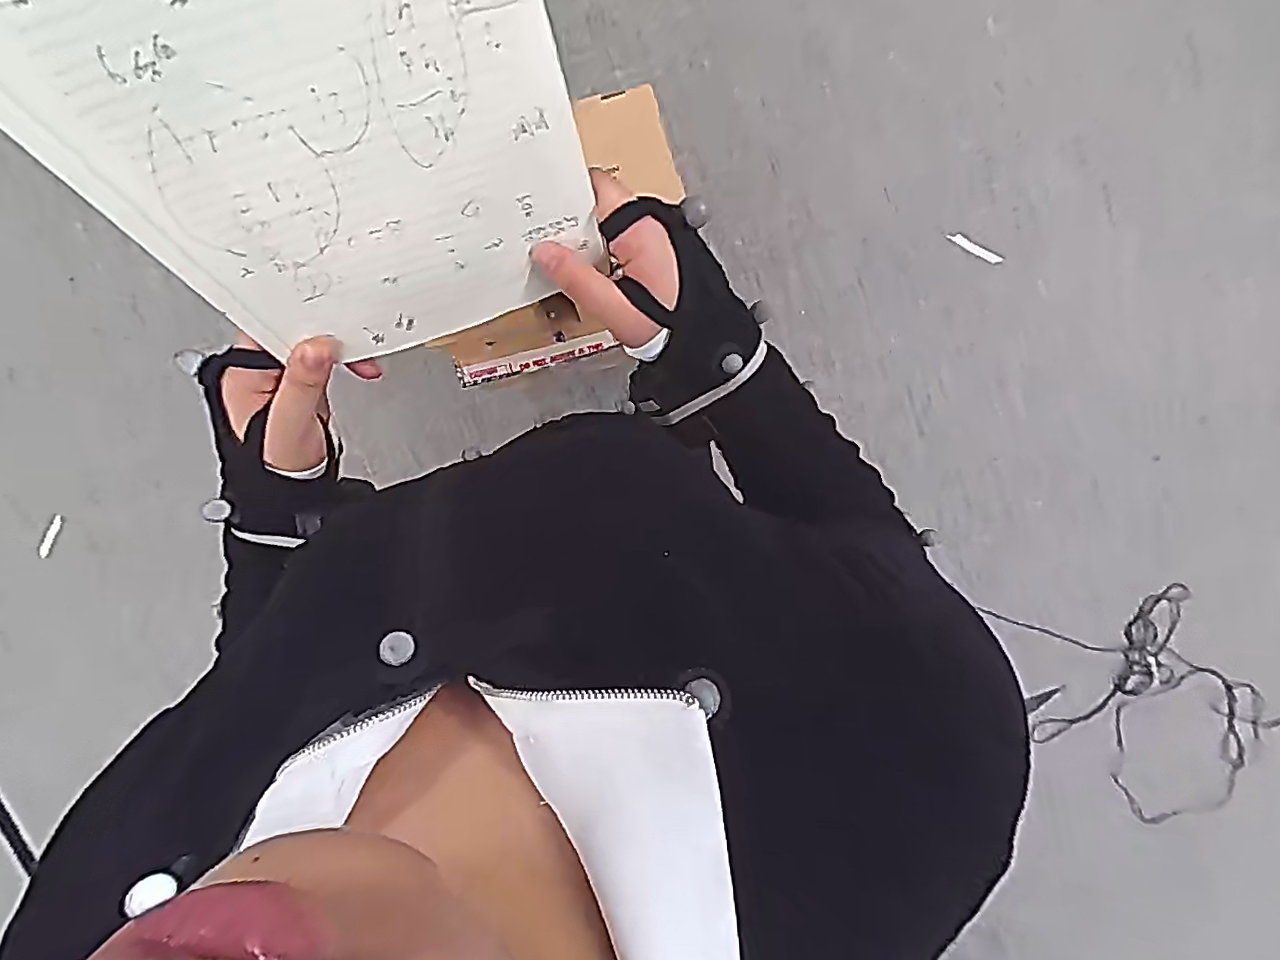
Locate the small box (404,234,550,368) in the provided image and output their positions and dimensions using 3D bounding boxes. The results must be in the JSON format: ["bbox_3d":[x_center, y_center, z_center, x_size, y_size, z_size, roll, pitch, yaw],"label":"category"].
[{"bbox_3d":[-0.252,-0.284,0.891,0.179,0.176,0.168,-12,100,1],"label":"small box"}]

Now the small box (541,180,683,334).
[{"bbox_3d":[-0.046,-0.353,0.889,0.179,0.176,0.168,-21,99,0],"label":"small box"}]
